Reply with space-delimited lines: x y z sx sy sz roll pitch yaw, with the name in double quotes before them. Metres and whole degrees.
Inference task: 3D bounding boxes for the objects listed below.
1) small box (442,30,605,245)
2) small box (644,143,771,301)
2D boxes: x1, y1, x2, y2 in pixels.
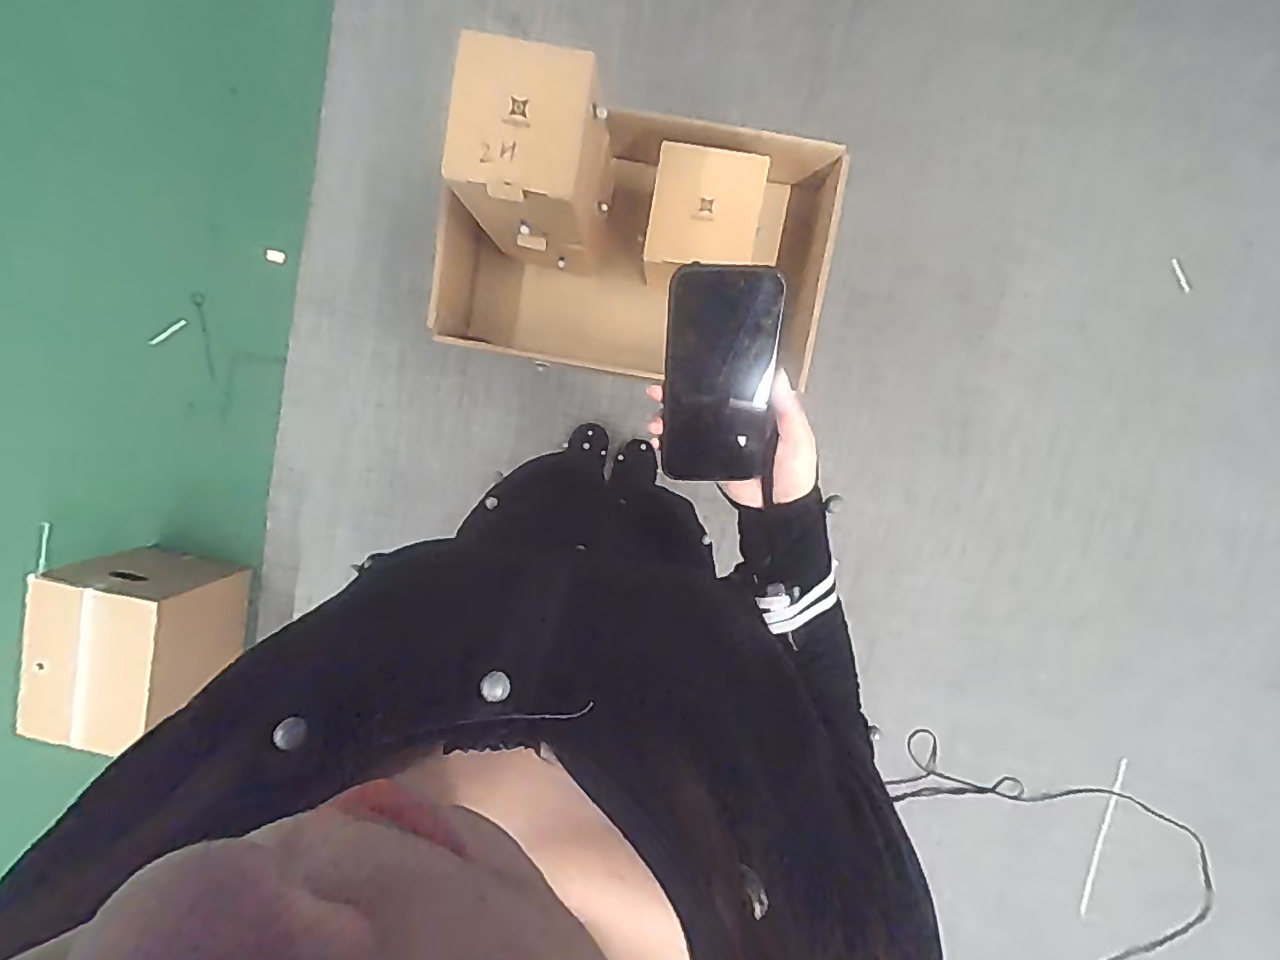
"small box" -0.145 -0.446 0.733 0.168 0.176 0.179 11 96 1
"small box" 0.104 -0.413 0.892 0.168 0.176 0.179 10 97 2
